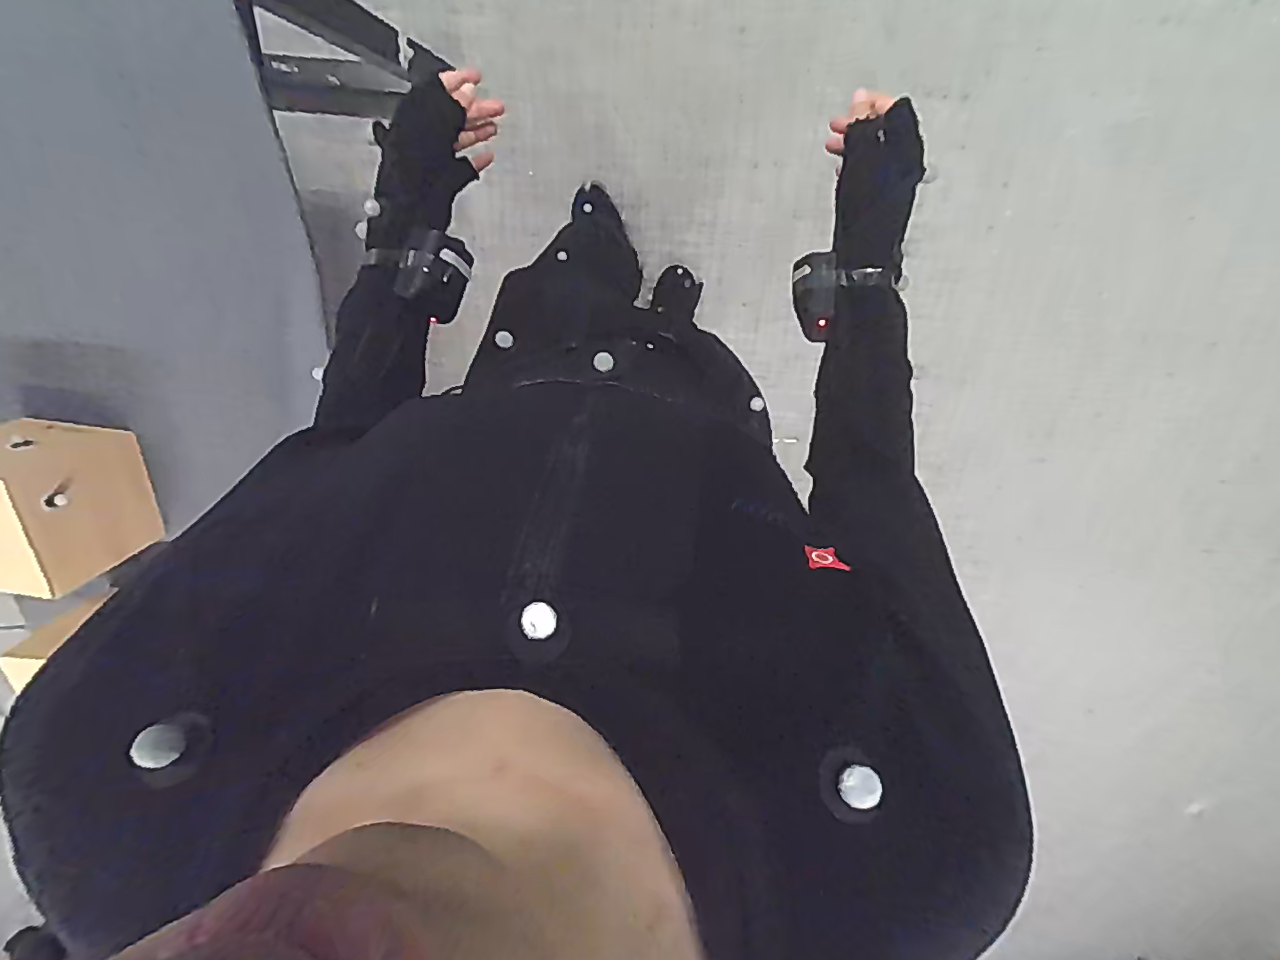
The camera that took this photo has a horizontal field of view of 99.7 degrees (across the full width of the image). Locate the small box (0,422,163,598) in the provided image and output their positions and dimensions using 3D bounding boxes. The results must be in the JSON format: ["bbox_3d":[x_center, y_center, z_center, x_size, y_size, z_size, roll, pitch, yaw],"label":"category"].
[{"bbox_3d":[-0.817,0.032,0.739,0.168,0.176,0.179,8,115,2],"label":"small box"}]
